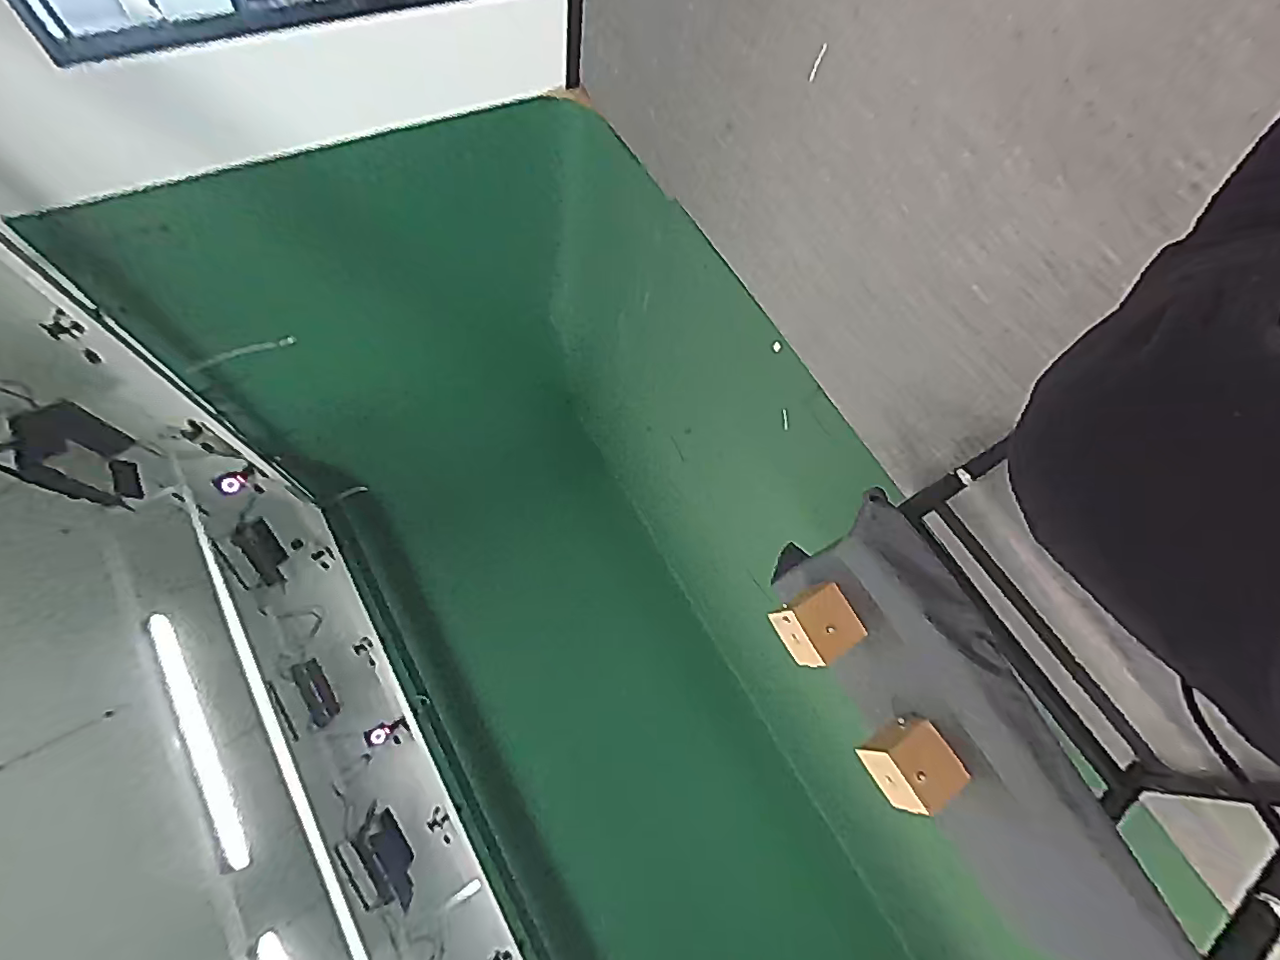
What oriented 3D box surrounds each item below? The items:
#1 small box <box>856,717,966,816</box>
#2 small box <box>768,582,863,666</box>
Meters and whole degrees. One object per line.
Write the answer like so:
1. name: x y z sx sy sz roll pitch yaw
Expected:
1. small box: 0.749 0.784 1.498 0.179 0.176 0.168 58 159 16
2. small box: 0.520 0.427 1.600 0.179 0.176 0.168 59 160 9
